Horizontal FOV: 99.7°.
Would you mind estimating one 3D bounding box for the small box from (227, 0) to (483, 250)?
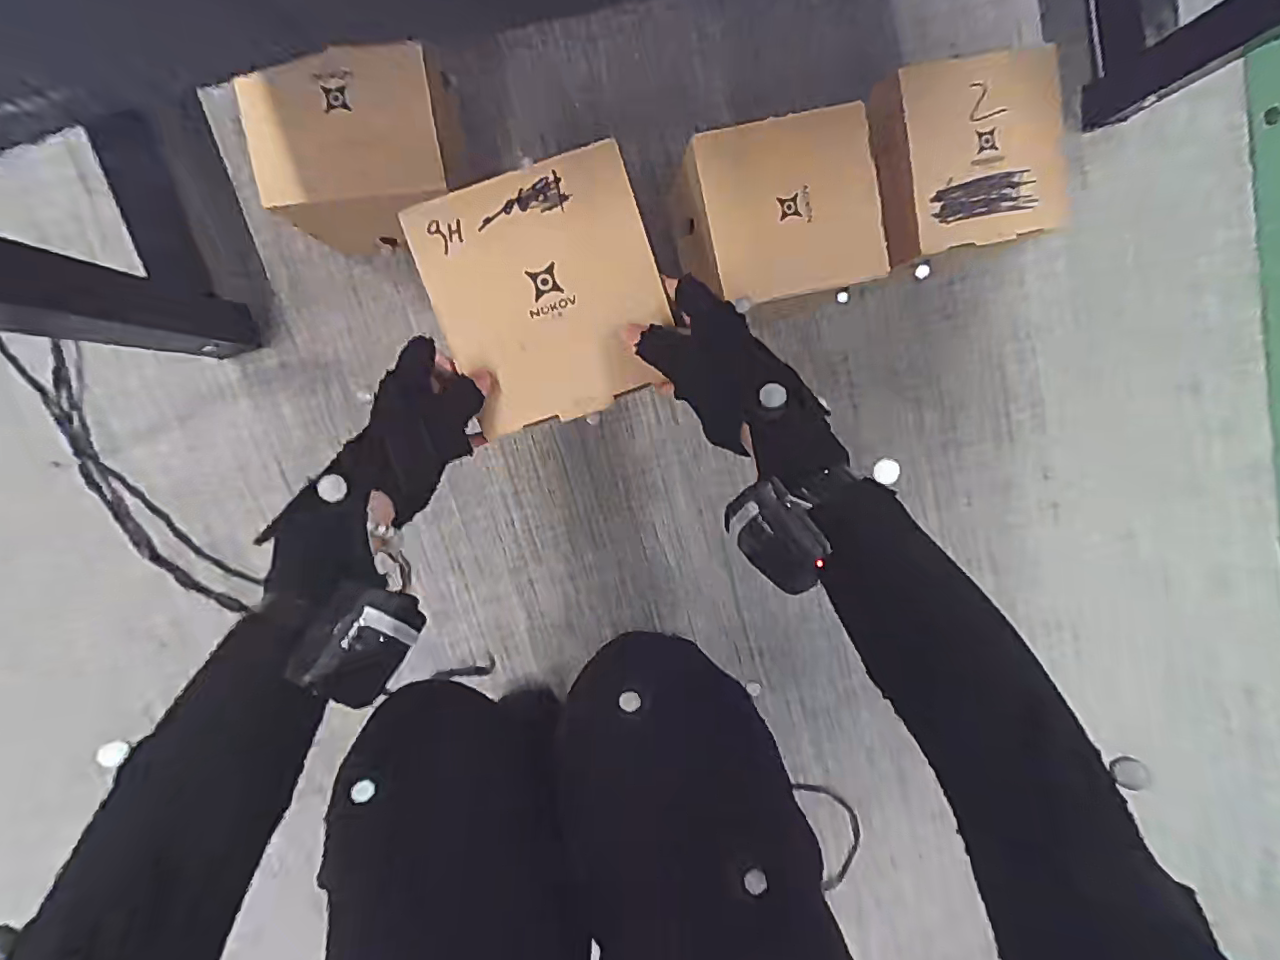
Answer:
[{"bbox_3d":[-0.267,-0.354,0.548,0.168,0.176,0.179,-8,98,-4],"label":"small box"}]
